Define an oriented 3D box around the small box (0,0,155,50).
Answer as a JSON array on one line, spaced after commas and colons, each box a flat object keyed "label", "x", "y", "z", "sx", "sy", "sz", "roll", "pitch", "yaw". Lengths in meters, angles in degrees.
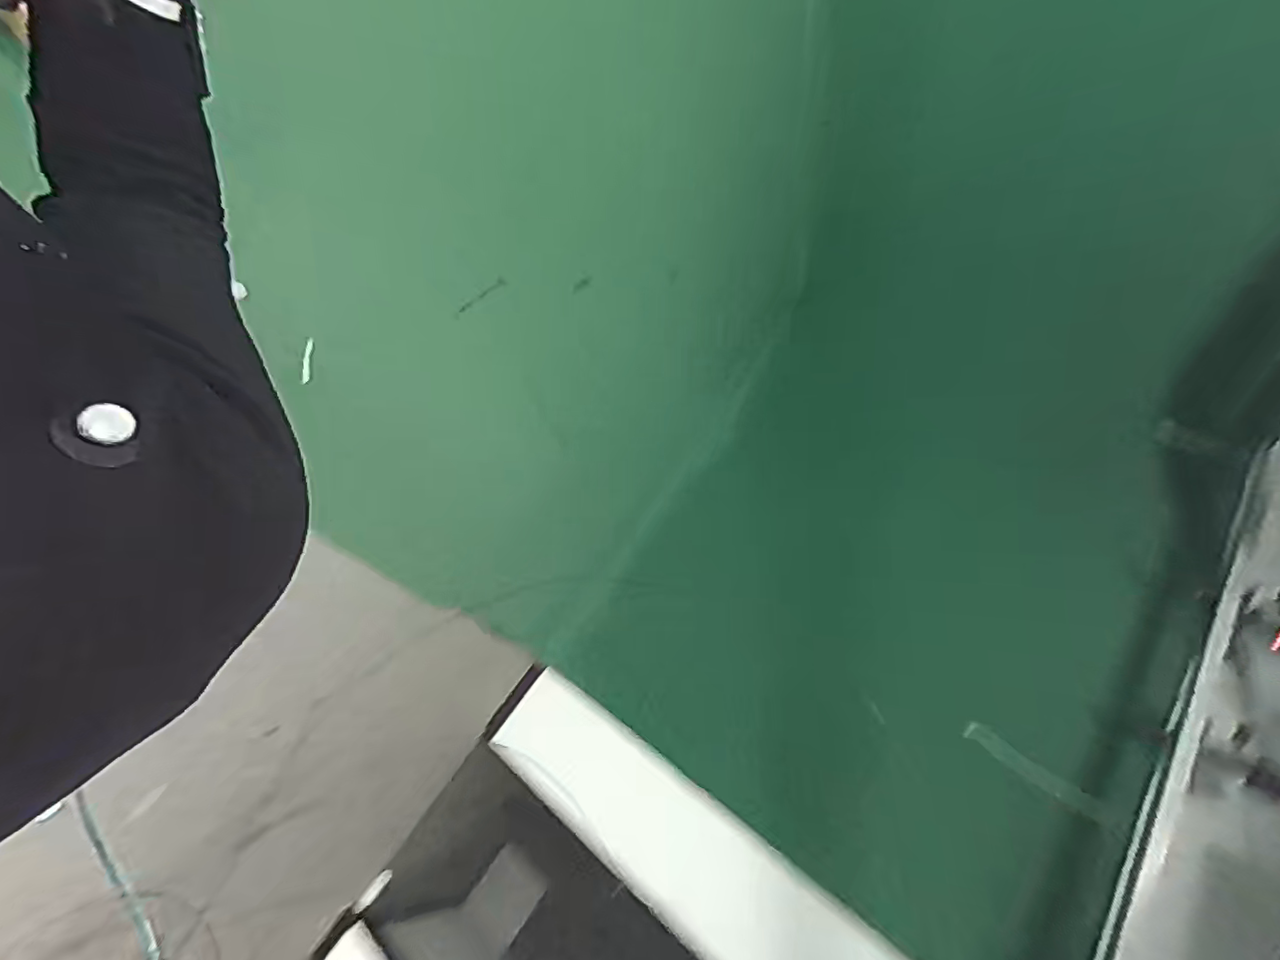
[{"label": "small box", "x": -0.906, "y": -0.783, "z": 0.812, "sx": 0.179, "sy": 0.176, "sz": 0.168, "roll": -49, "pitch": 149, "yaw": -21}]
